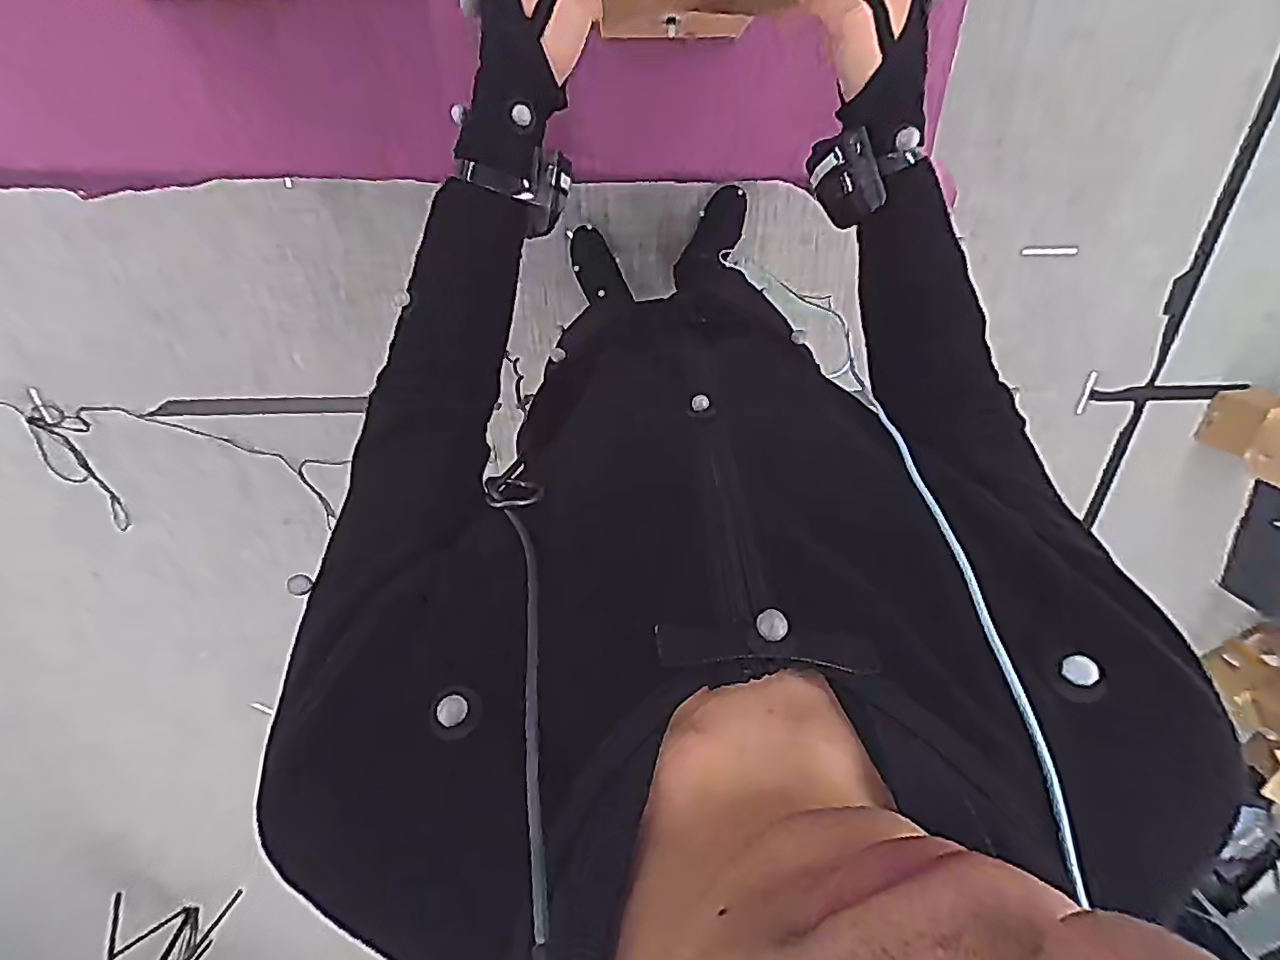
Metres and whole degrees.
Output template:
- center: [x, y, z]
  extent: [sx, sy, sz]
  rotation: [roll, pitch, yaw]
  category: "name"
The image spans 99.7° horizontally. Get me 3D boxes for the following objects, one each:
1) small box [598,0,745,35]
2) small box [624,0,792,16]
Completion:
- center: [0.039, -0.567, 0.536]
  extent: [0.168, 0.176, 0.179]
  rotation: [-1, 119, -3]
  category: "small box"
- center: [0.045, -0.463, 0.362]
  extent: [0.179, 0.176, 0.168]
  rotation: [-2, 86, -8]
  category: "small box"
